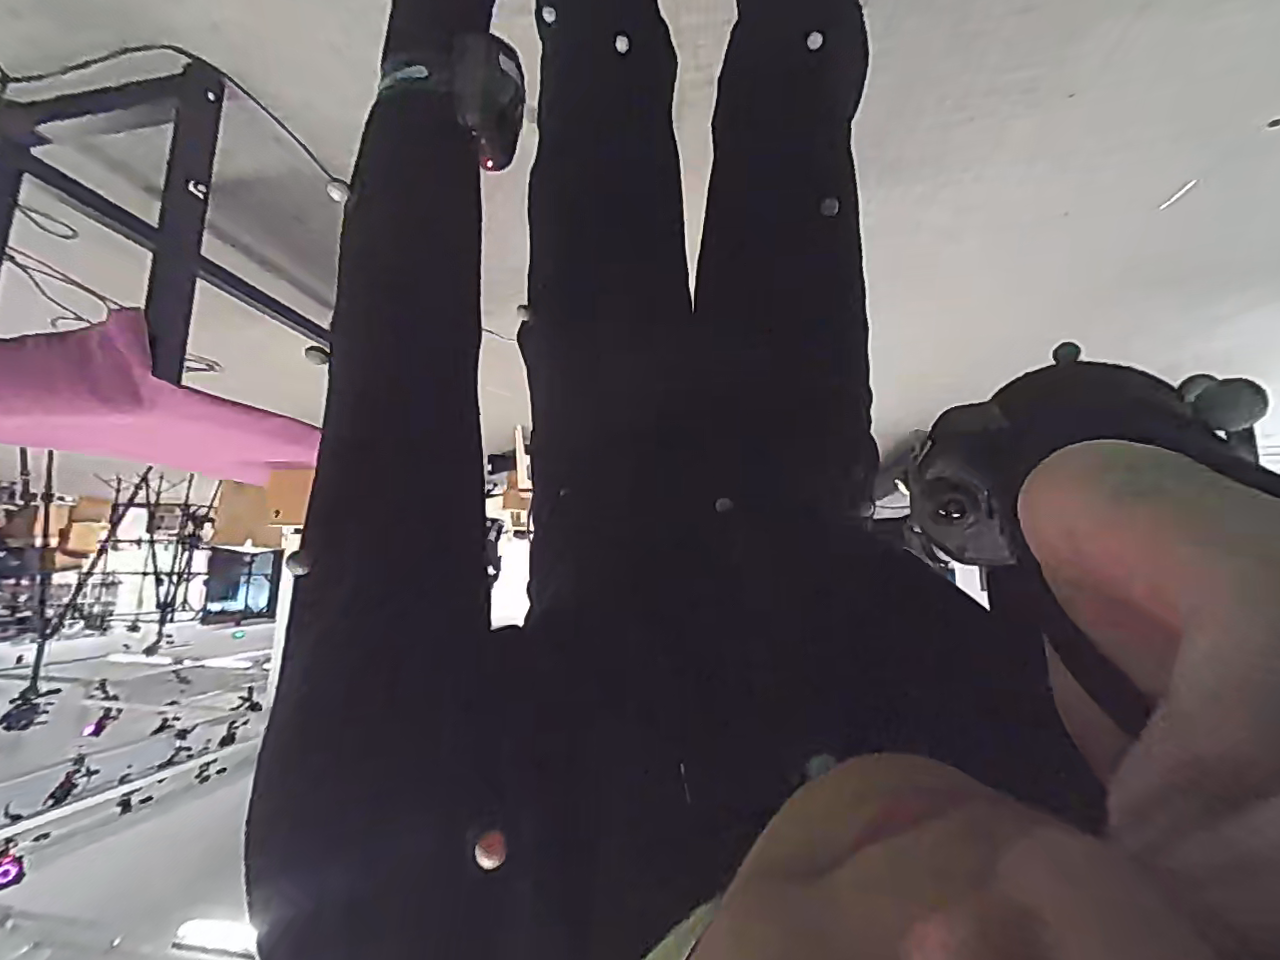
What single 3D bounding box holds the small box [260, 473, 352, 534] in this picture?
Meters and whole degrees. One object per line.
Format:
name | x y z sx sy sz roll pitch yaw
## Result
small box | -0.986 0.073 1.609 0.179 0.176 0.168 -1 170 10
